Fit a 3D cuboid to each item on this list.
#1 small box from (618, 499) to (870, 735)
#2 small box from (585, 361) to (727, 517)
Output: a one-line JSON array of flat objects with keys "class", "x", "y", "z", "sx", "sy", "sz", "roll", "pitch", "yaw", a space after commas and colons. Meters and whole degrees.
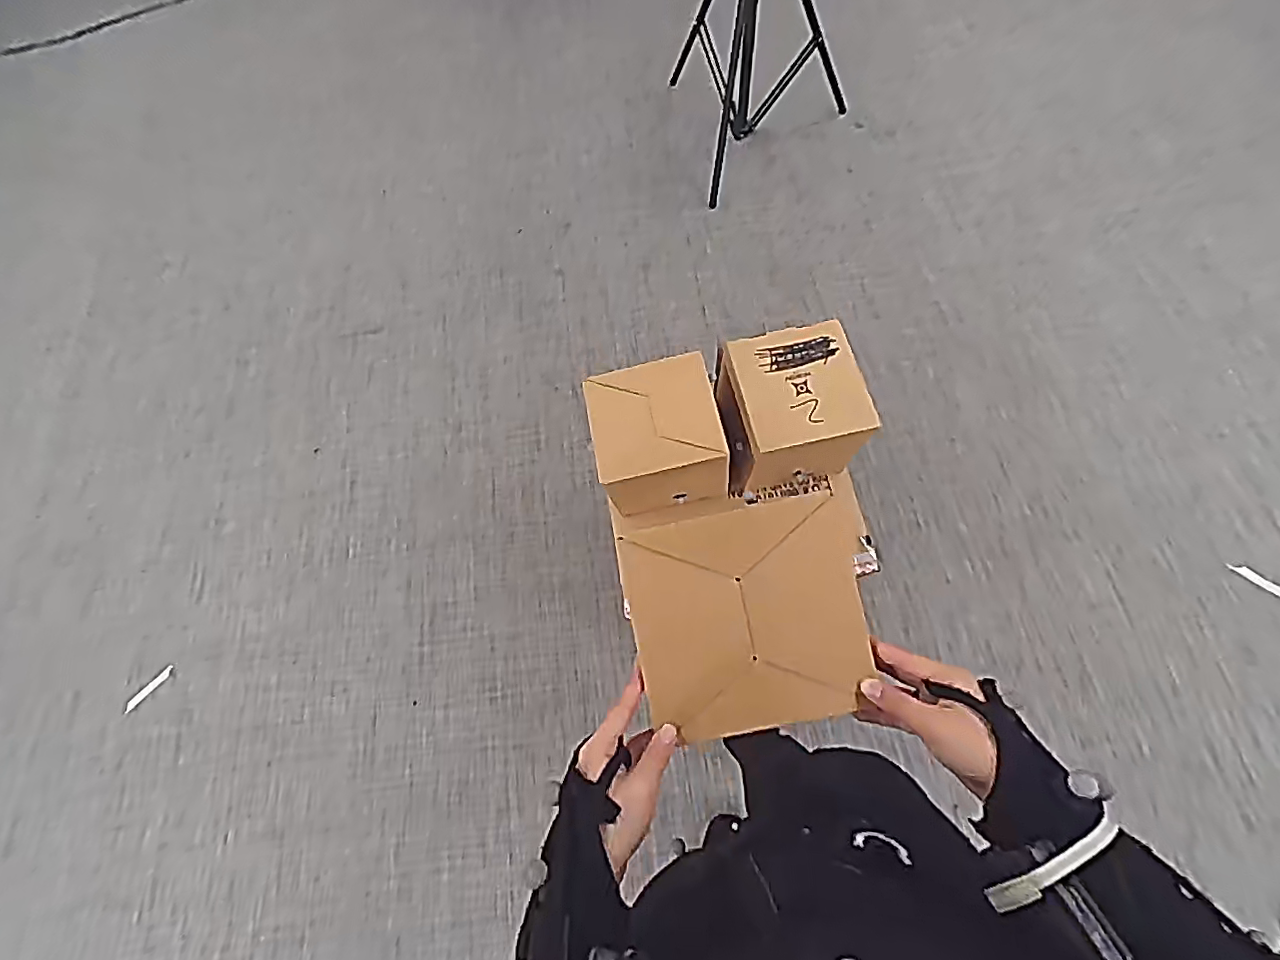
[{"class": "small box", "x": 0.080, "y": 0.113, "z": 0.498, "sx": 0.179, "sy": 0.176, "sz": 0.168, "roll": -11, "pitch": 86, "yaw": 1}, {"class": "small box", "x": 0.029, "y": -0.058, "z": 0.816, "sx": 0.179, "sy": 0.176, "sz": 0.168, "roll": -12, "pitch": 69, "yaw": 3}]
